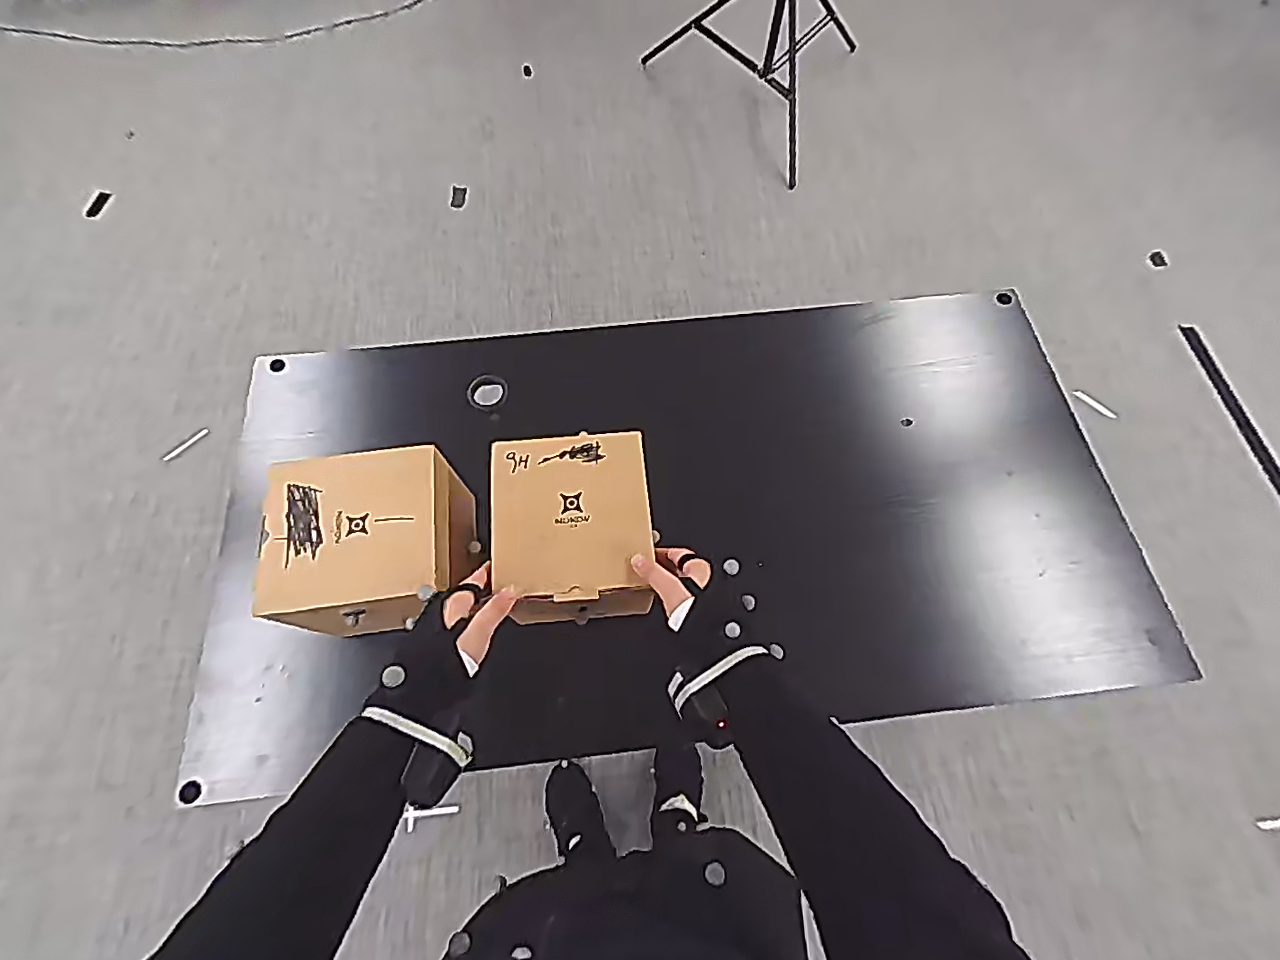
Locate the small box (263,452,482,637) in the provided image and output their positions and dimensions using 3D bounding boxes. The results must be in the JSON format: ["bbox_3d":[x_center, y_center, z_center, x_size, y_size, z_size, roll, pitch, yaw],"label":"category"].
[{"bbox_3d":[-0.298,0.085,0.641,0.179,0.176,0.168,-7,68,-4],"label":"small box"}]
